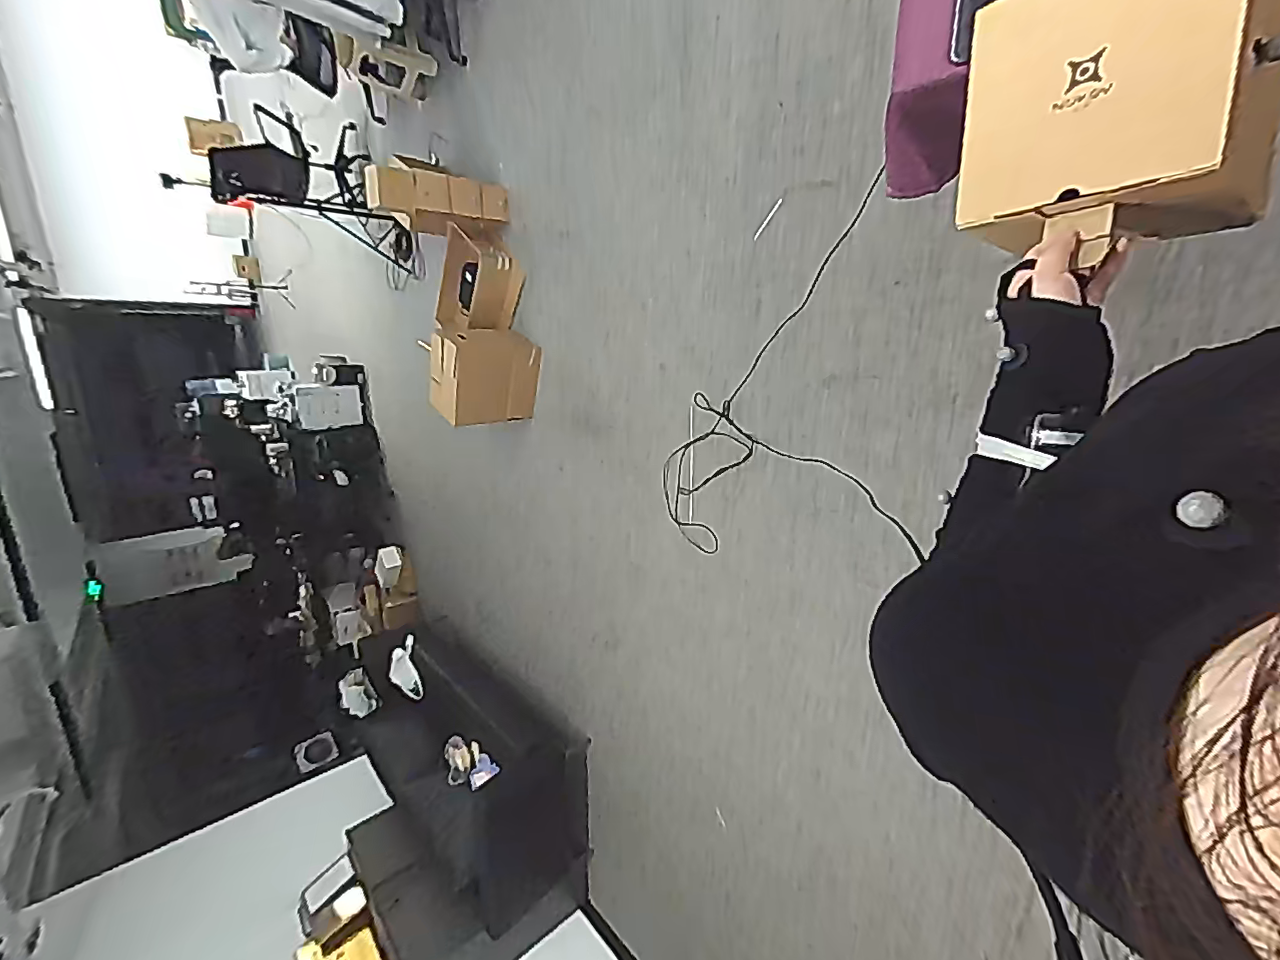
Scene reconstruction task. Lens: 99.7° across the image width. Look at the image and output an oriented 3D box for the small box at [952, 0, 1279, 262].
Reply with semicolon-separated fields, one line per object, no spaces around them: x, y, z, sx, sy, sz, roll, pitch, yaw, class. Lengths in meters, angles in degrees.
0.393;-0.300;0.453;0.168;0.176;0.179;12;104;52;small box
